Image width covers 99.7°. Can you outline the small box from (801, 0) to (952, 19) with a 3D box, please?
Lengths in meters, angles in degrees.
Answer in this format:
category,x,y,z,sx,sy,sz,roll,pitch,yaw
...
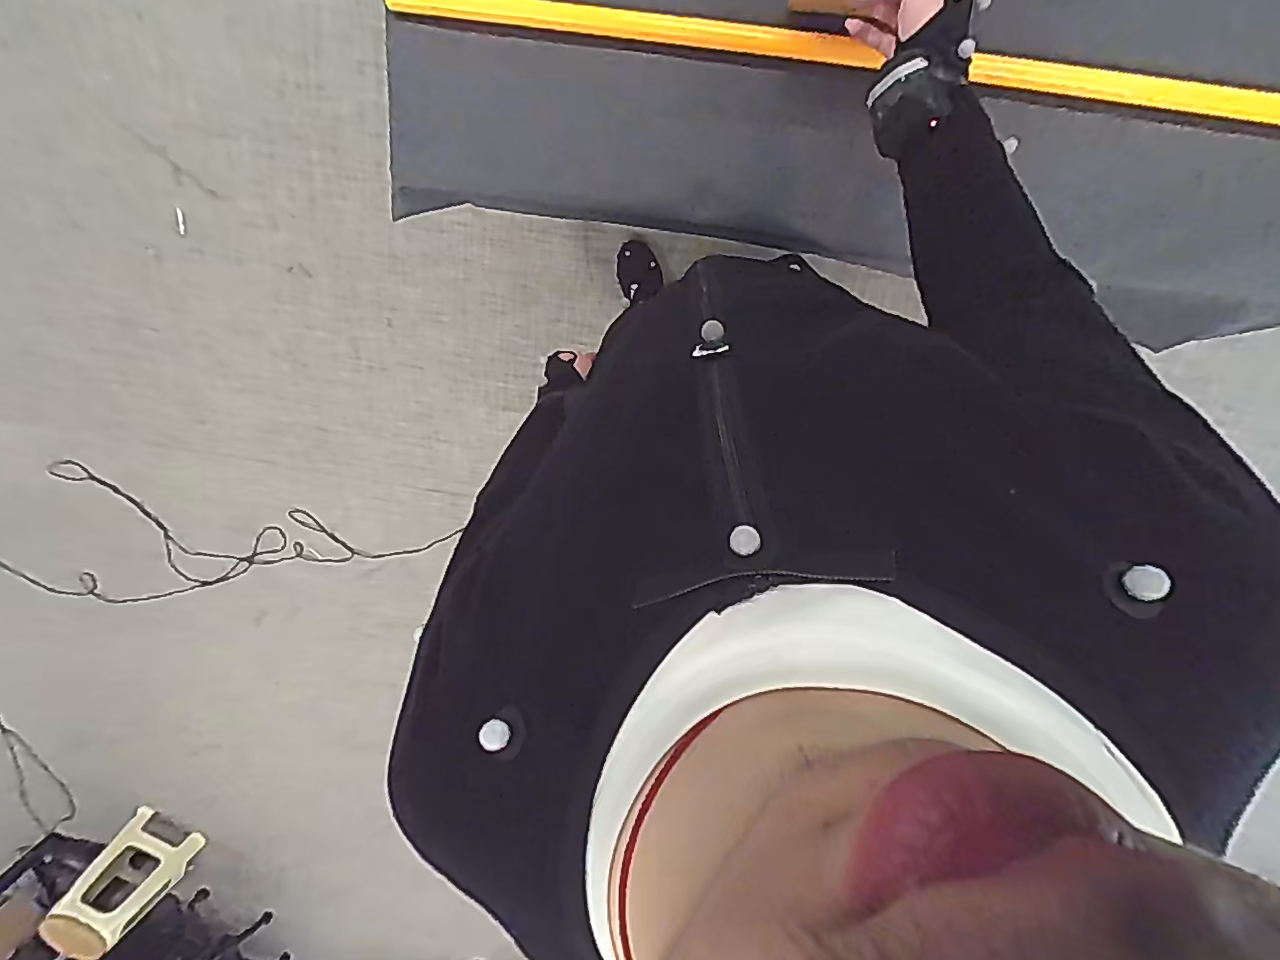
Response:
category,x,y,z,sx,sy,sz,roll,pitch,yaw
small box,0.252,-0.577,0.517,0.168,0.176,0.179,5,111,8
